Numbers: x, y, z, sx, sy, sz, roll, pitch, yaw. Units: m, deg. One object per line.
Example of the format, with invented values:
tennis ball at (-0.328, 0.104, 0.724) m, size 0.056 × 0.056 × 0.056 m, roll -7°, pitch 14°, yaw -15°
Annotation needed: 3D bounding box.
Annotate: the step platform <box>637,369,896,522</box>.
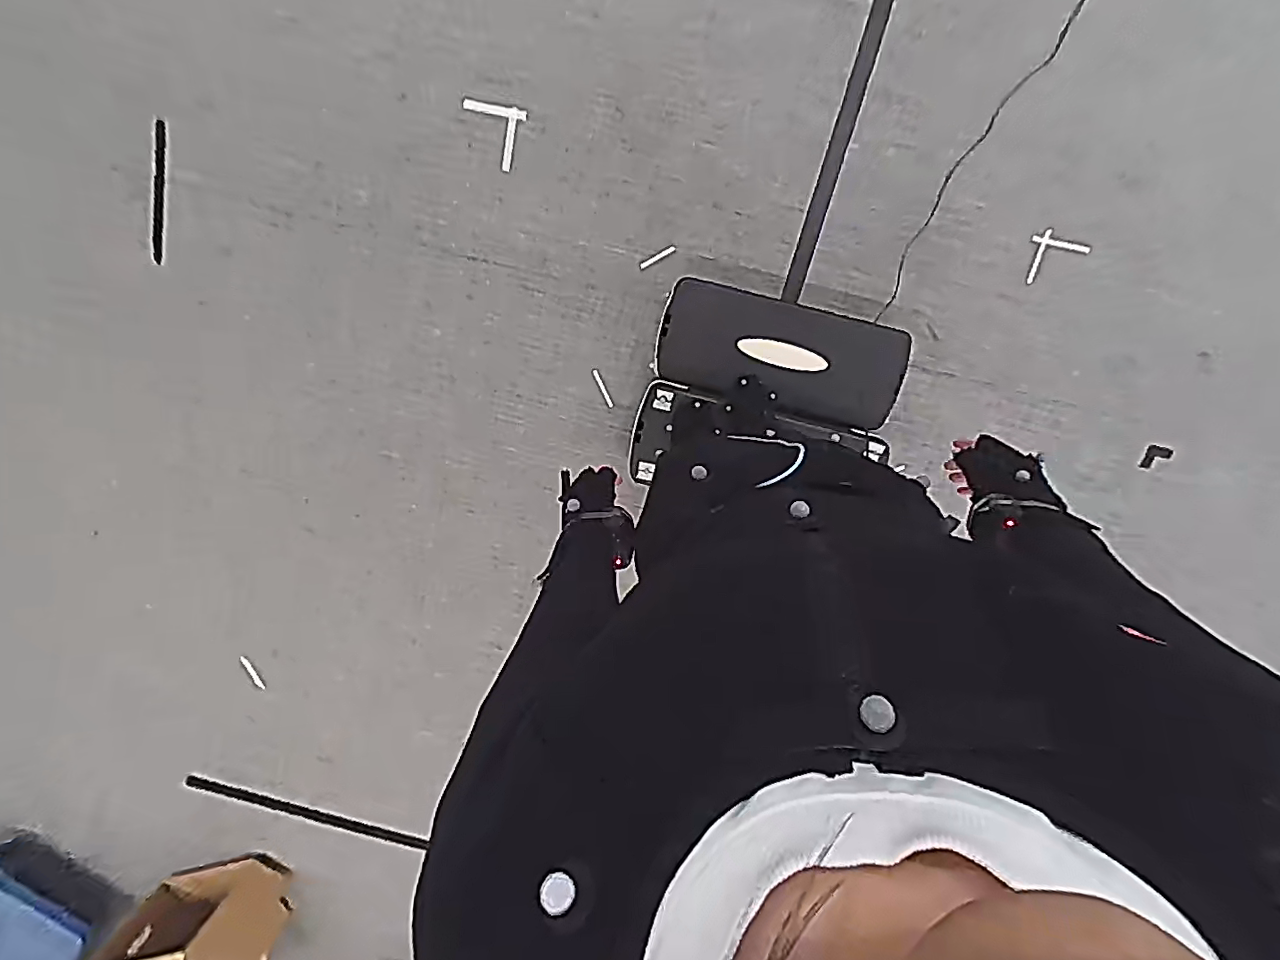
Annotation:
step platform at (0.338, -0.098, 1.511) m, size 0.684 × 0.204 × 0.286 m, roll 14°, pitch 102°, yaw 2°
